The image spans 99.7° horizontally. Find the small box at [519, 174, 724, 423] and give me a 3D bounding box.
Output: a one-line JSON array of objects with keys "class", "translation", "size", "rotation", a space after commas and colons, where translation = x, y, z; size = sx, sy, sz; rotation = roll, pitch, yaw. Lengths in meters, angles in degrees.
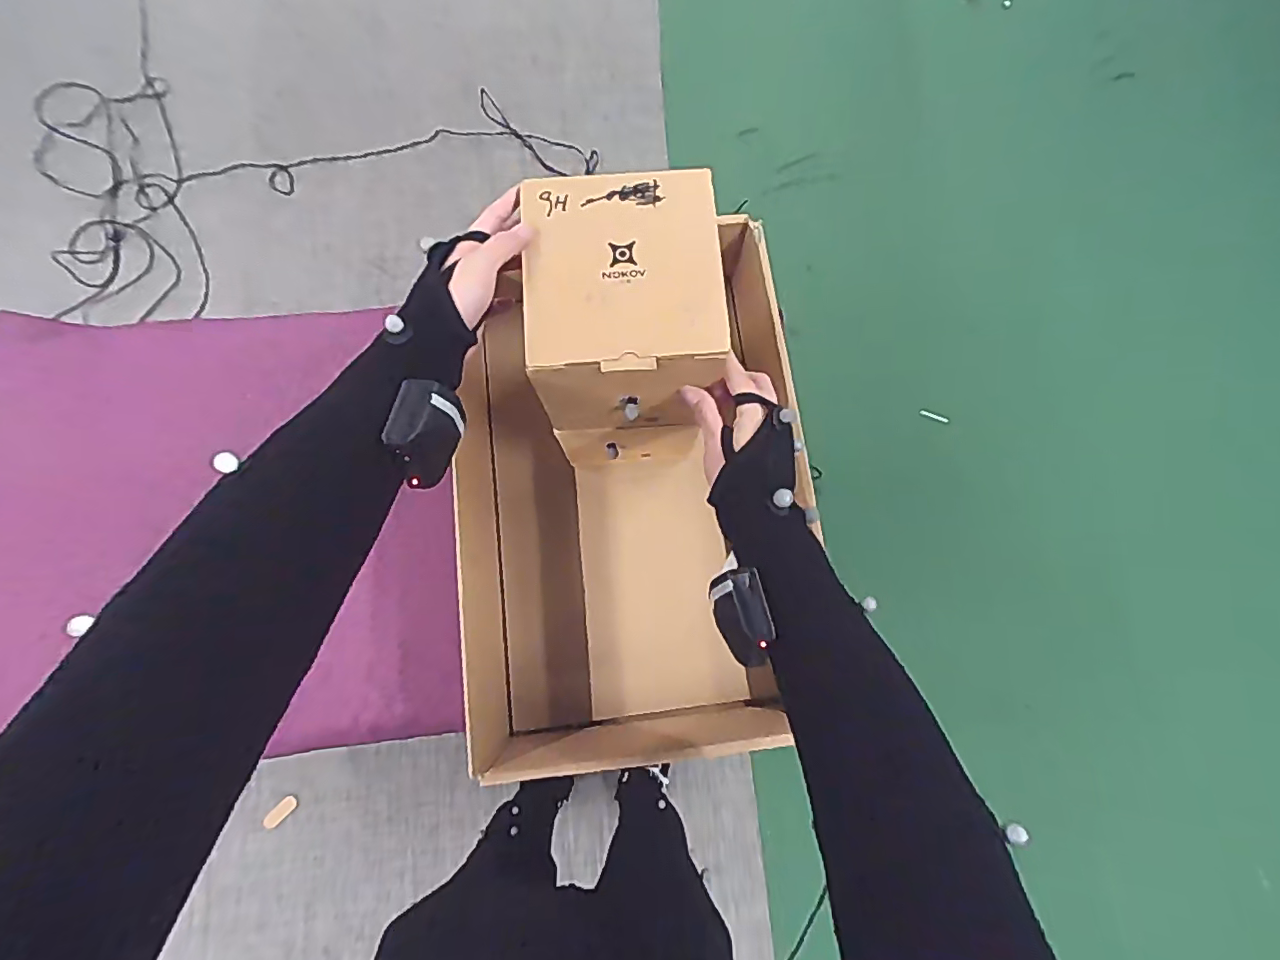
[{"class": "small box", "translation": [-0.017, -0.158, 0.525], "size": [0.168, 0.176, 0.179], "rotation": [-4, 79, -1]}]

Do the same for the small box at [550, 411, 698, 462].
[{"class": "small box", "translation": [-0.021, -0.123, 0.684], "size": [0.168, 0.176, 0.179], "rotation": [-4, 78, -1]}]
